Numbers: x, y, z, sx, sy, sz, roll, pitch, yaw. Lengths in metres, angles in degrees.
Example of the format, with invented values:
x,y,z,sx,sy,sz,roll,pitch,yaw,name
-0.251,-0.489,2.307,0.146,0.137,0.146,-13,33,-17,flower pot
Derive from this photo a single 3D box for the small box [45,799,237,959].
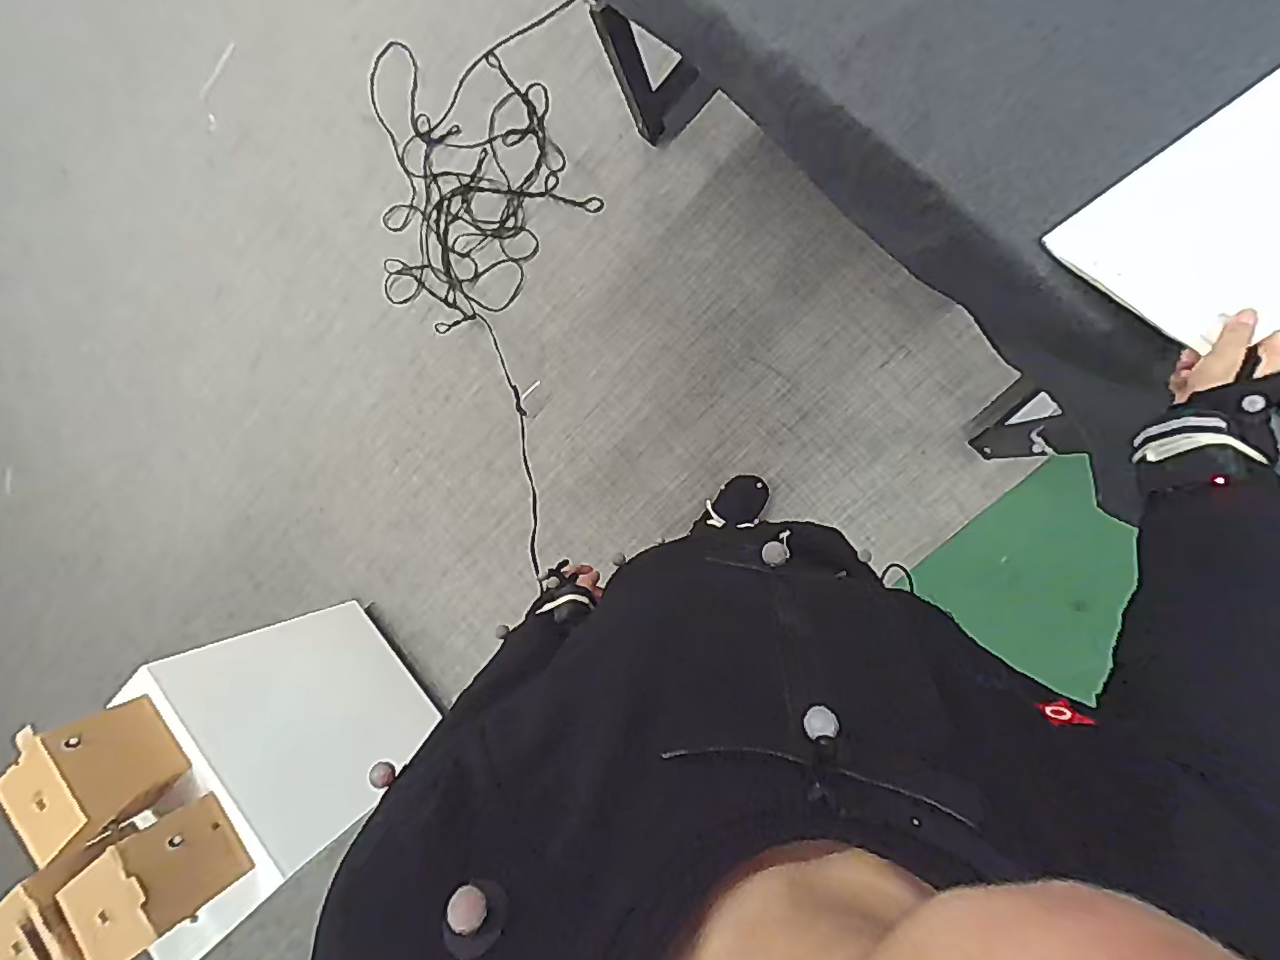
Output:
x,y,z,sx,sy,sz,roll,pitch,yaw,name
-0.851,0.702,0.940,0.179,0.176,0.168,-39,80,13,small box
